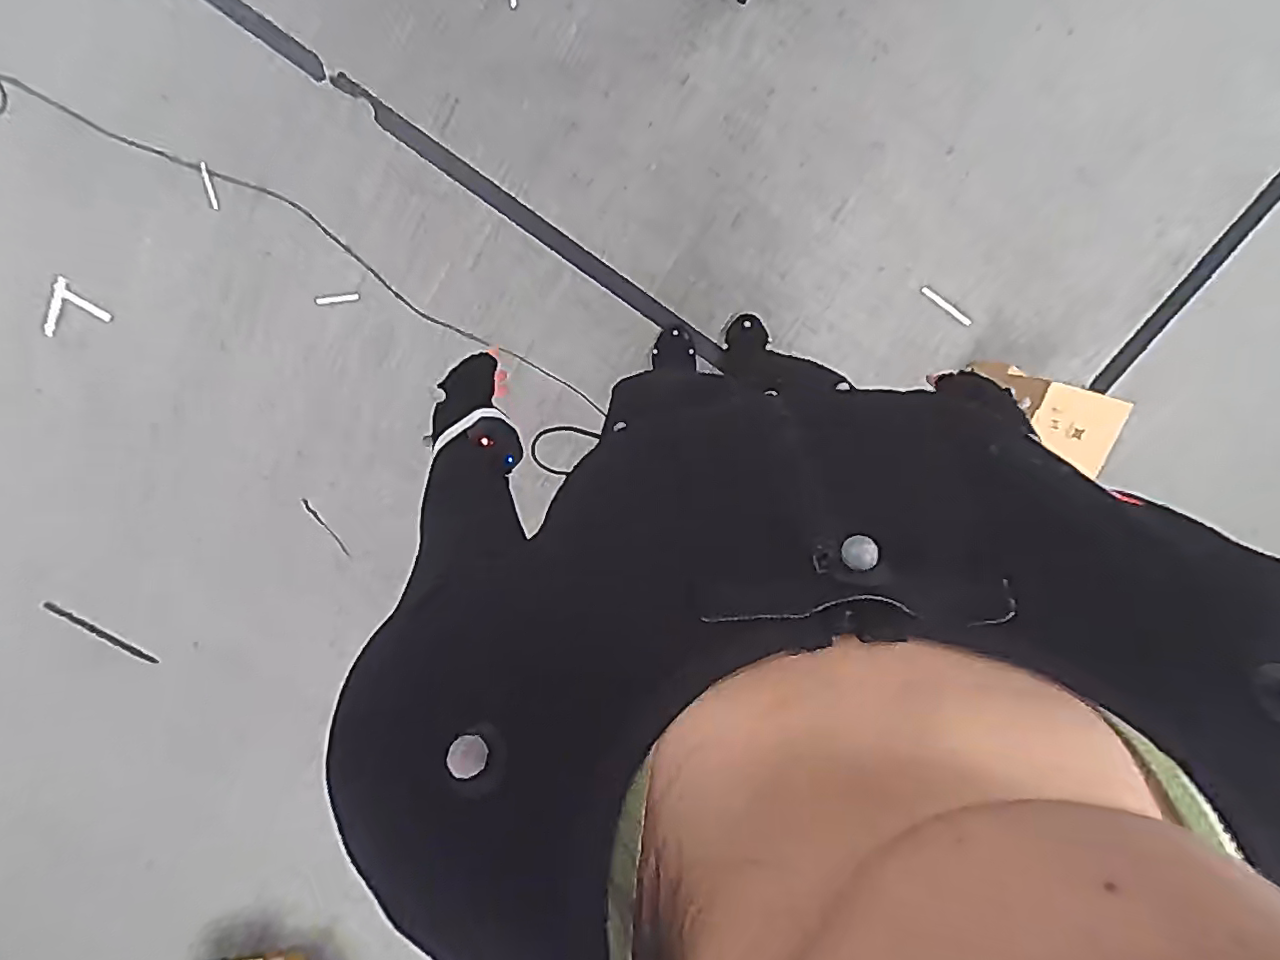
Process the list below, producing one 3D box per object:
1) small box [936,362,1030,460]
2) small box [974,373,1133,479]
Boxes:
[{"bbox_3d":[0.870,-0.175,1.316,0.179,0.176,0.168,32,106,-7],"label":"small box"},{"bbox_3d":[0.871,-0.125,1.159,0.179,0.176,0.168,20,106,0],"label":"small box"}]
